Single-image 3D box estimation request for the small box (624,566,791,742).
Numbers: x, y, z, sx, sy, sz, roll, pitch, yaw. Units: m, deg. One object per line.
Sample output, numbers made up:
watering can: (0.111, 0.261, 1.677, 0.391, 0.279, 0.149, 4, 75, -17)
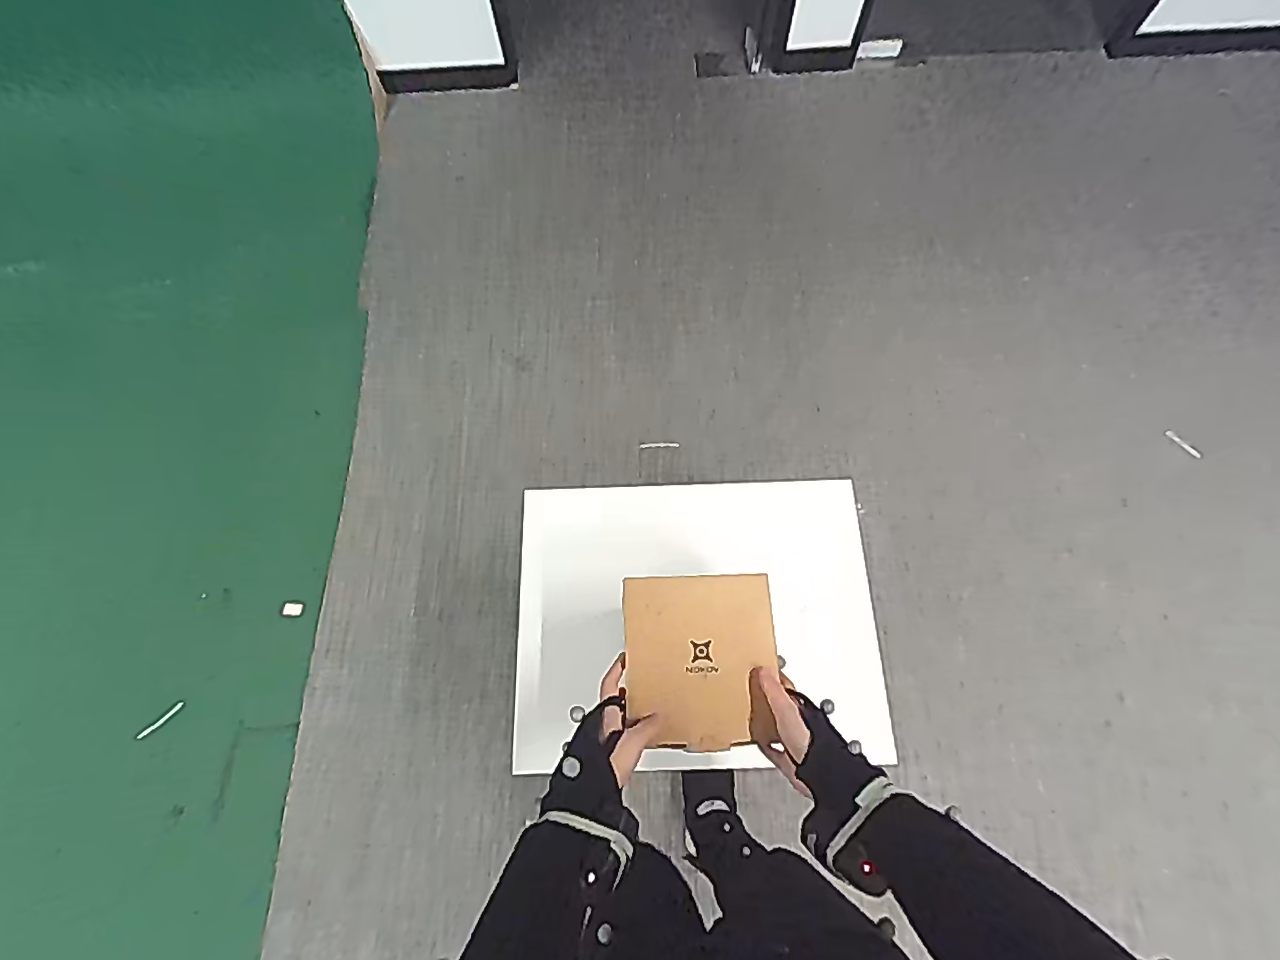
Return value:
small box: (0.066, 0.208, 0.647, 0.168, 0.176, 0.179, -2, 69, -3)
